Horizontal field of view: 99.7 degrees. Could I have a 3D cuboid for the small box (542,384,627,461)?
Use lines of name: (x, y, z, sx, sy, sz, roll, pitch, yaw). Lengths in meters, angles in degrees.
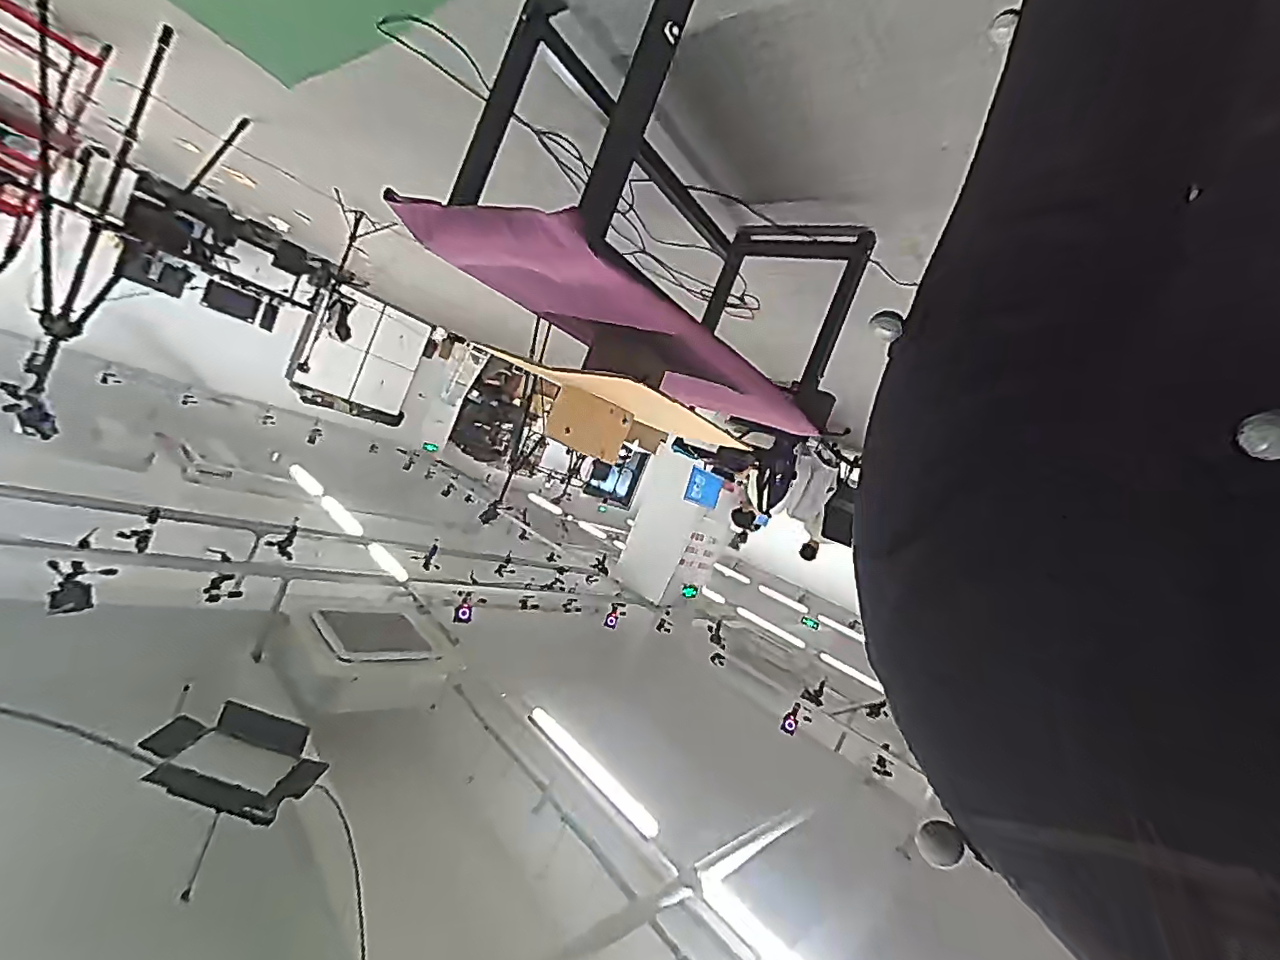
small box: (-0.158, -0.175, 1.623, 0.179, 0.176, 0.168, 27, -176, 38)
